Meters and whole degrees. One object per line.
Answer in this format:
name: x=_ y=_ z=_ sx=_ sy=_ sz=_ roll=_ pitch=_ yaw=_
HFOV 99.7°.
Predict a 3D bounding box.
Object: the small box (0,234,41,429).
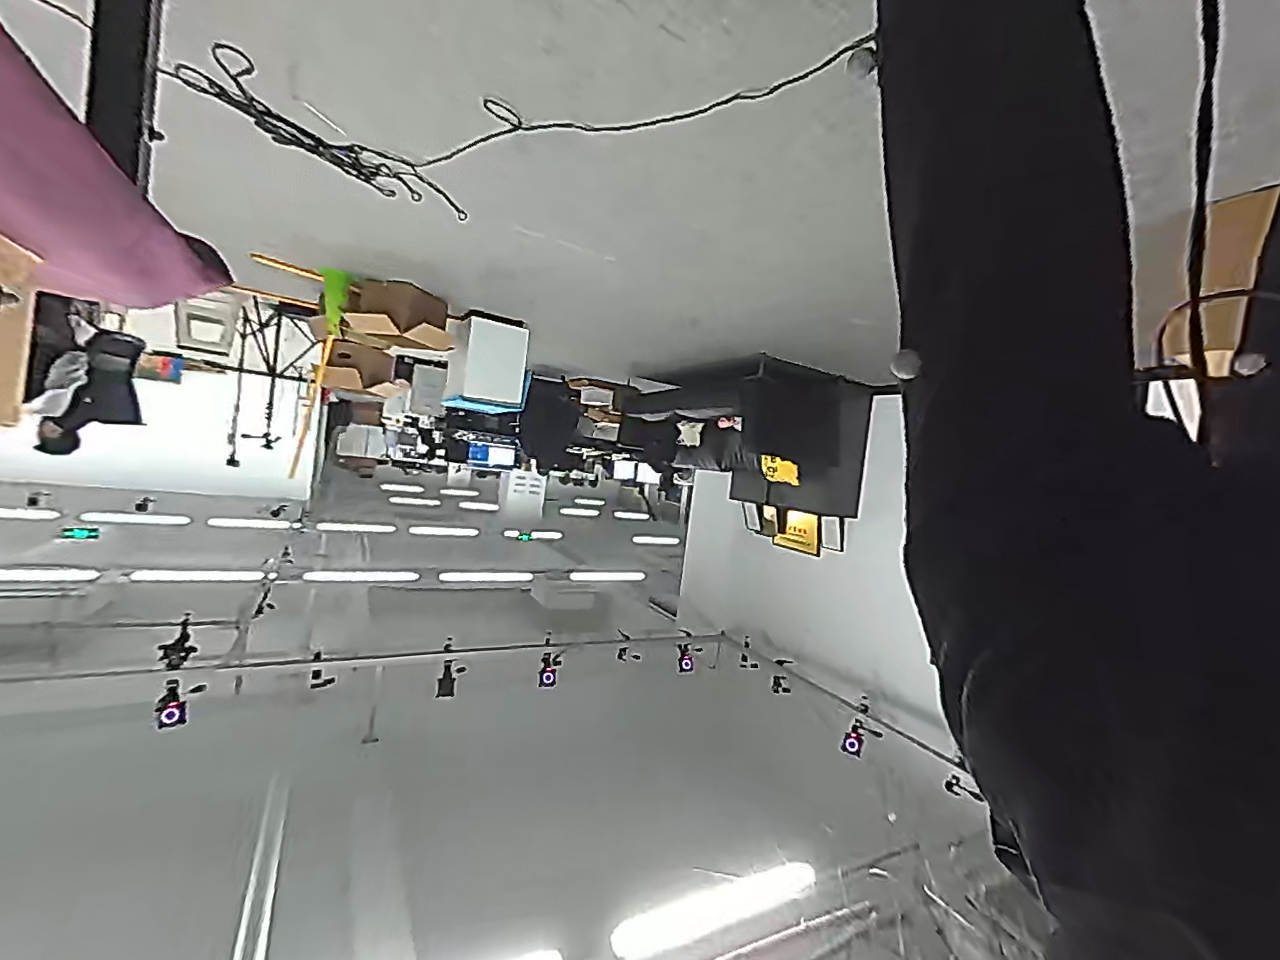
small box: x=-0.621 y=-0.136 z=0.414 sx=0.179 sy=0.176 sz=0.168 roll=6 pitch=-178 yaw=-30
